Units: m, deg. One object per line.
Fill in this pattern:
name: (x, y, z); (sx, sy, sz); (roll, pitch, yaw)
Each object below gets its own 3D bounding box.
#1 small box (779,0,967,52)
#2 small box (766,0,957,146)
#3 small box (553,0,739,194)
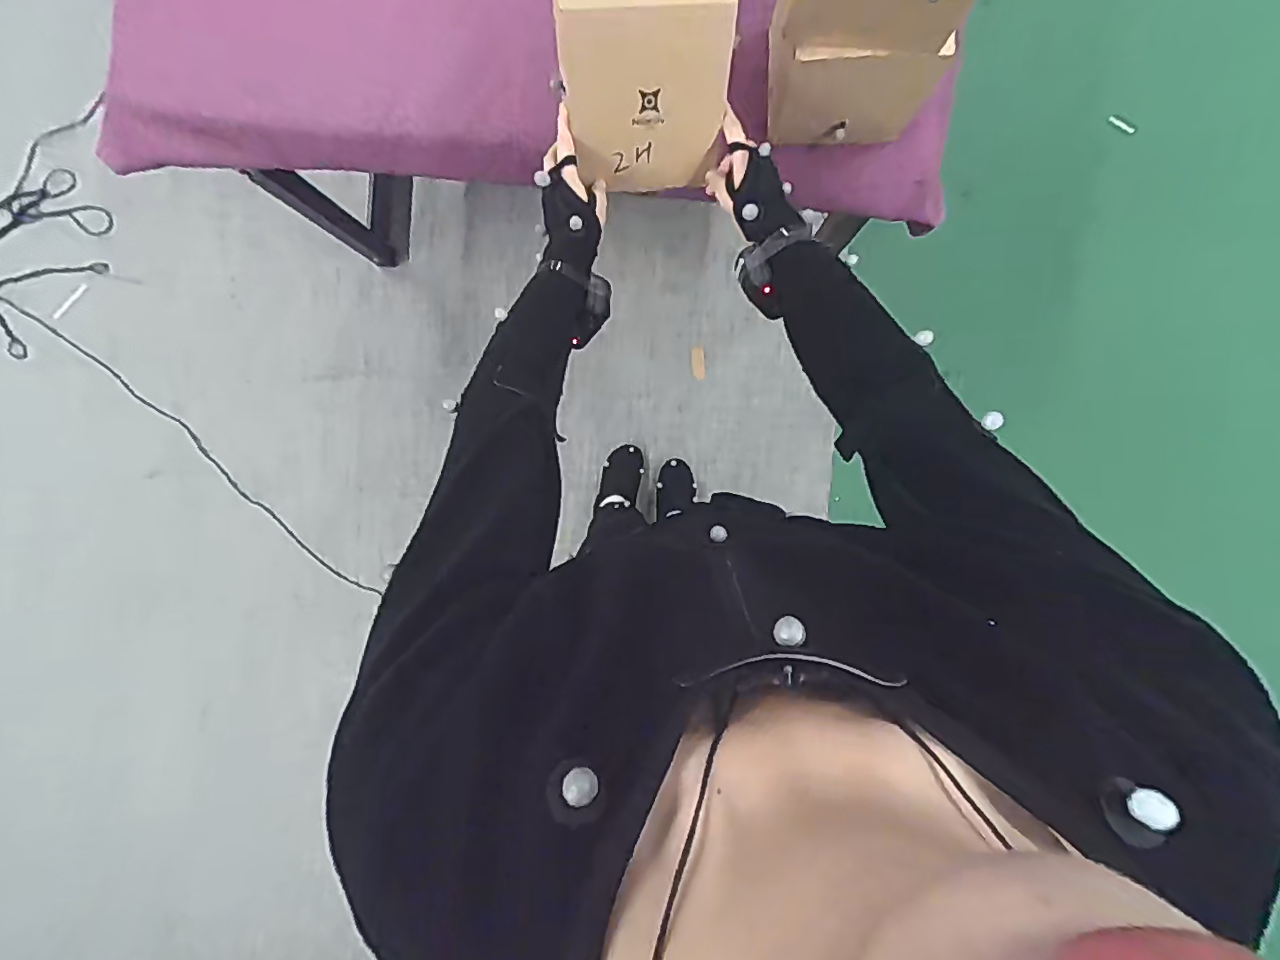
small box: (0.244, -0.548, 0.509); (0.179, 0.176, 0.168); (7, 92, 3)
small box: (0.263, -0.545, 0.672); (0.179, 0.176, 0.168); (1, 92, 3)
small box: (-0.004, -0.453, 0.600); (0.168, 0.179, 0.176); (-7, 60, -6)
